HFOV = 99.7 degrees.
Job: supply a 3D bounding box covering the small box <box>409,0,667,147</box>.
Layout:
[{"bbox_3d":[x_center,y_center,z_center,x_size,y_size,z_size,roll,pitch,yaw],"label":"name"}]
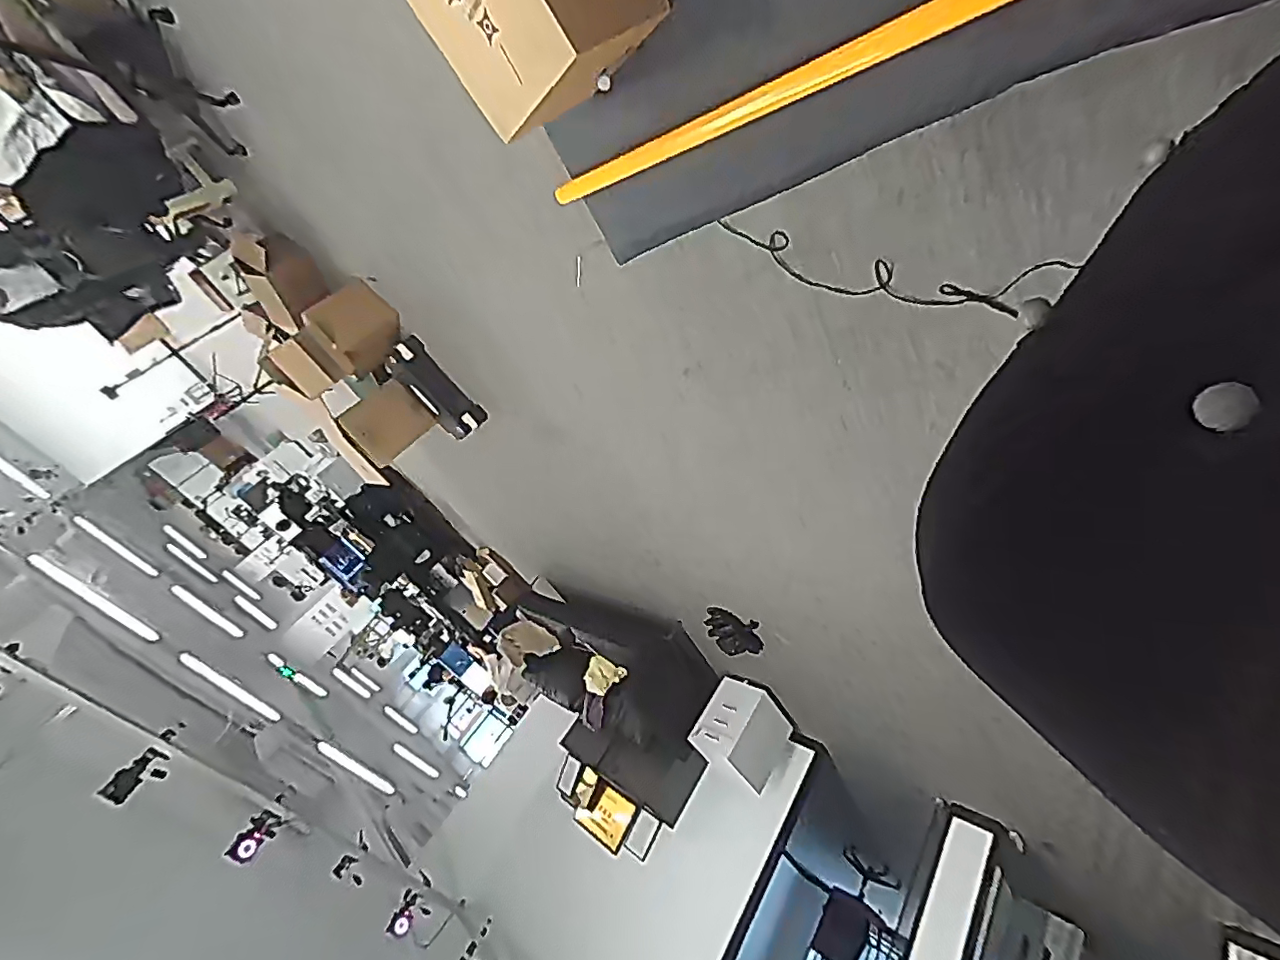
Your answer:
[{"bbox_3d":[-0.106,-0.508,0.576,0.168,0.176,0.179,-3,131,52],"label":"small box"}]
